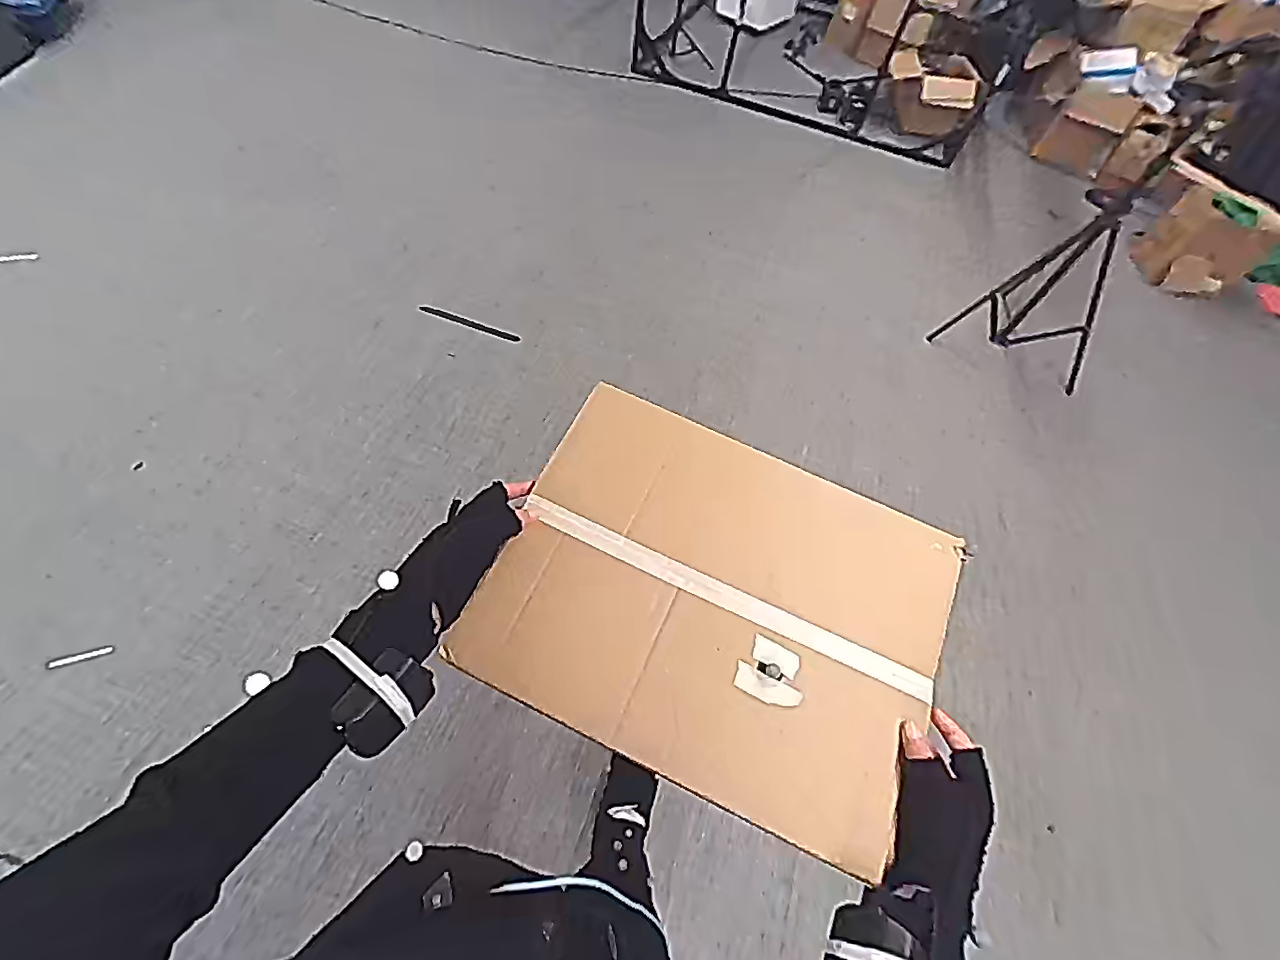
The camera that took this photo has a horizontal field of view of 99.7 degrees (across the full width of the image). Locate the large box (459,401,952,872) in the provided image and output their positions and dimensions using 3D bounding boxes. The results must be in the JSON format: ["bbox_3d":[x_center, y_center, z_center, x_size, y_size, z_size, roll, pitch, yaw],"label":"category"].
[{"bbox_3d":[0.067,0.173,0.649,0.408,0.320,0.320,25,68,6],"label":"large box"}]
